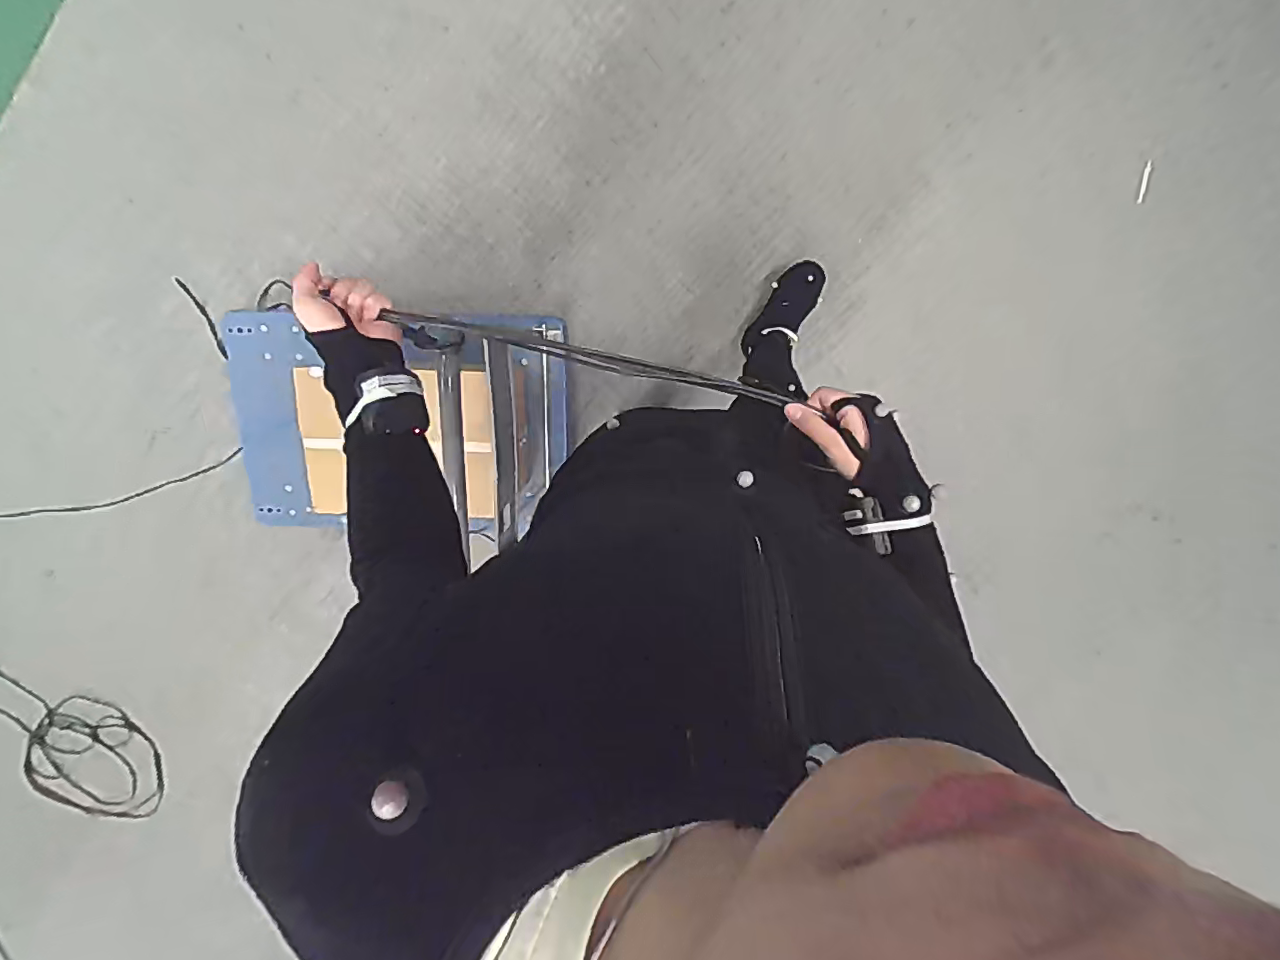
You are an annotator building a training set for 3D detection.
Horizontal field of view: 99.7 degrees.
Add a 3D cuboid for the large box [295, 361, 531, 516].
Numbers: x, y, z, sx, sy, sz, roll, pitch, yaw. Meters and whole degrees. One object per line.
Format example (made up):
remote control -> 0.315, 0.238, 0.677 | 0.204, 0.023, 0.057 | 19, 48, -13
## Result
large box -> -0.491, -0.112, 1.258 | 0.408, 0.320, 0.320 | 1, 104, 2
